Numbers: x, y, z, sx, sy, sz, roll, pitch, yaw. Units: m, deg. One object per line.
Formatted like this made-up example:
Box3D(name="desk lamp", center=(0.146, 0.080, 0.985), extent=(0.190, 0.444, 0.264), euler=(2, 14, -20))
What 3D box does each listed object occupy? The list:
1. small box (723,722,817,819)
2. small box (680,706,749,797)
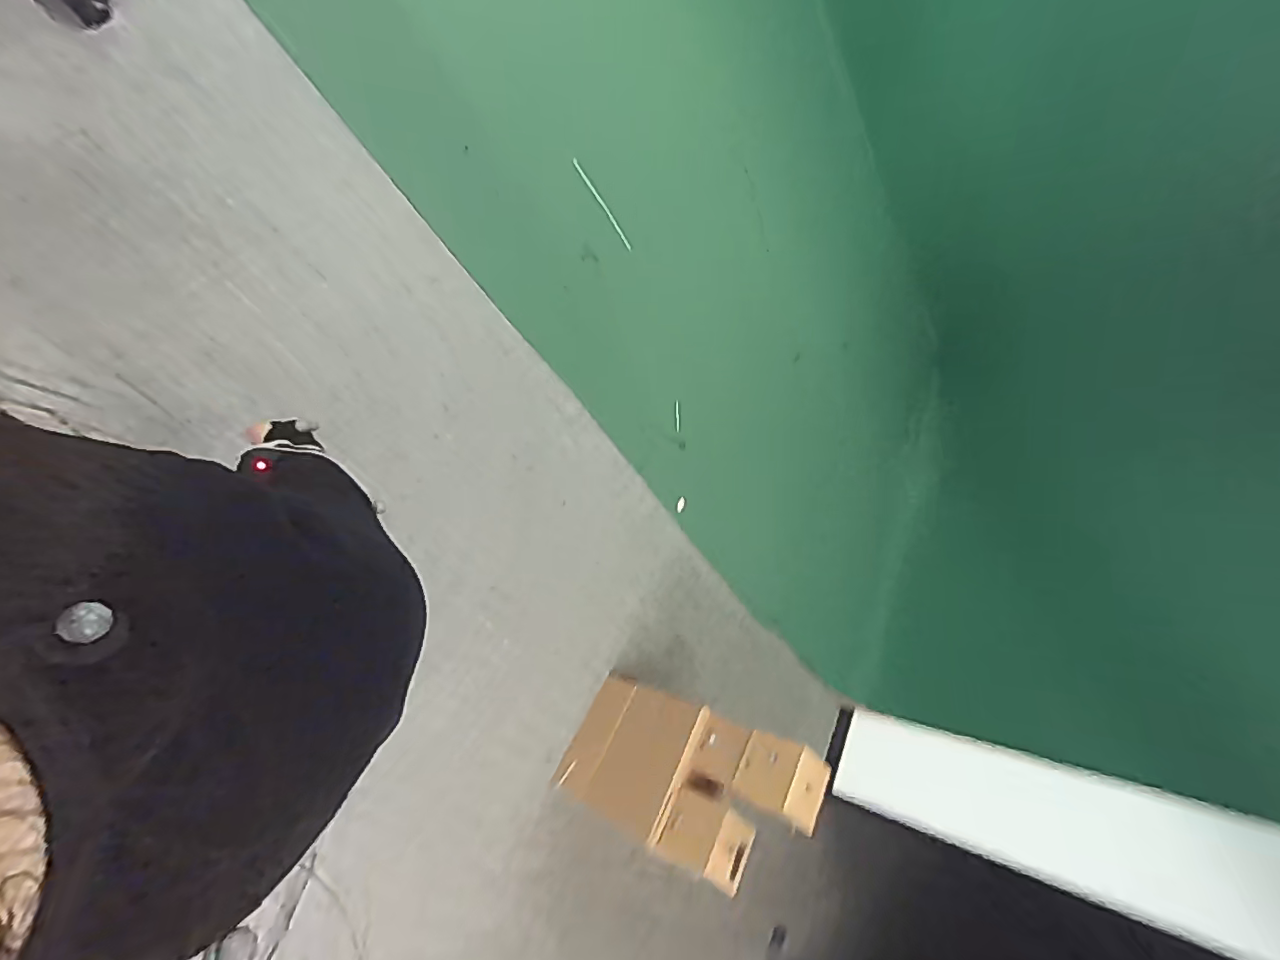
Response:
Box3D(name="small box", center=(0.360, 0.803, 1.511), extent=(0.179, 0.176, 0.168), euler=(50, 59, -30))
Box3D(name="small box", center=(0.256, 0.813, 1.636), extent=(0.179, 0.176, 0.168), euler=(50, 59, -29))
